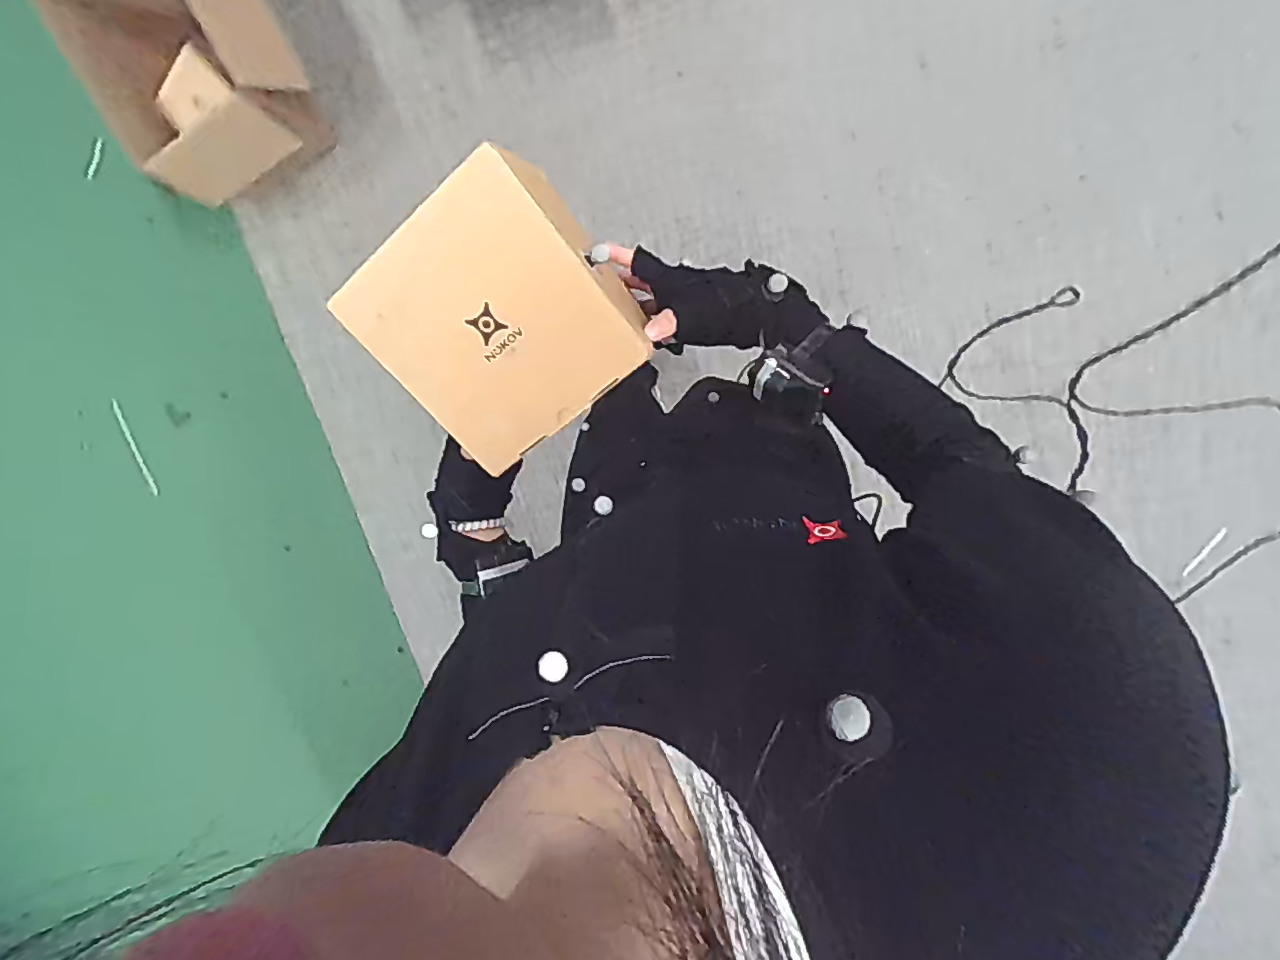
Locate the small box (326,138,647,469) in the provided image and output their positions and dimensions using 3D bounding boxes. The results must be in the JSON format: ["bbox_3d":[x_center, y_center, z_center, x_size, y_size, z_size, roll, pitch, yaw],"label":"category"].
[{"bbox_3d":[-0.110,-0.145,0.465,0.168,0.176,0.179,-34,110,14],"label":"small box"}]
